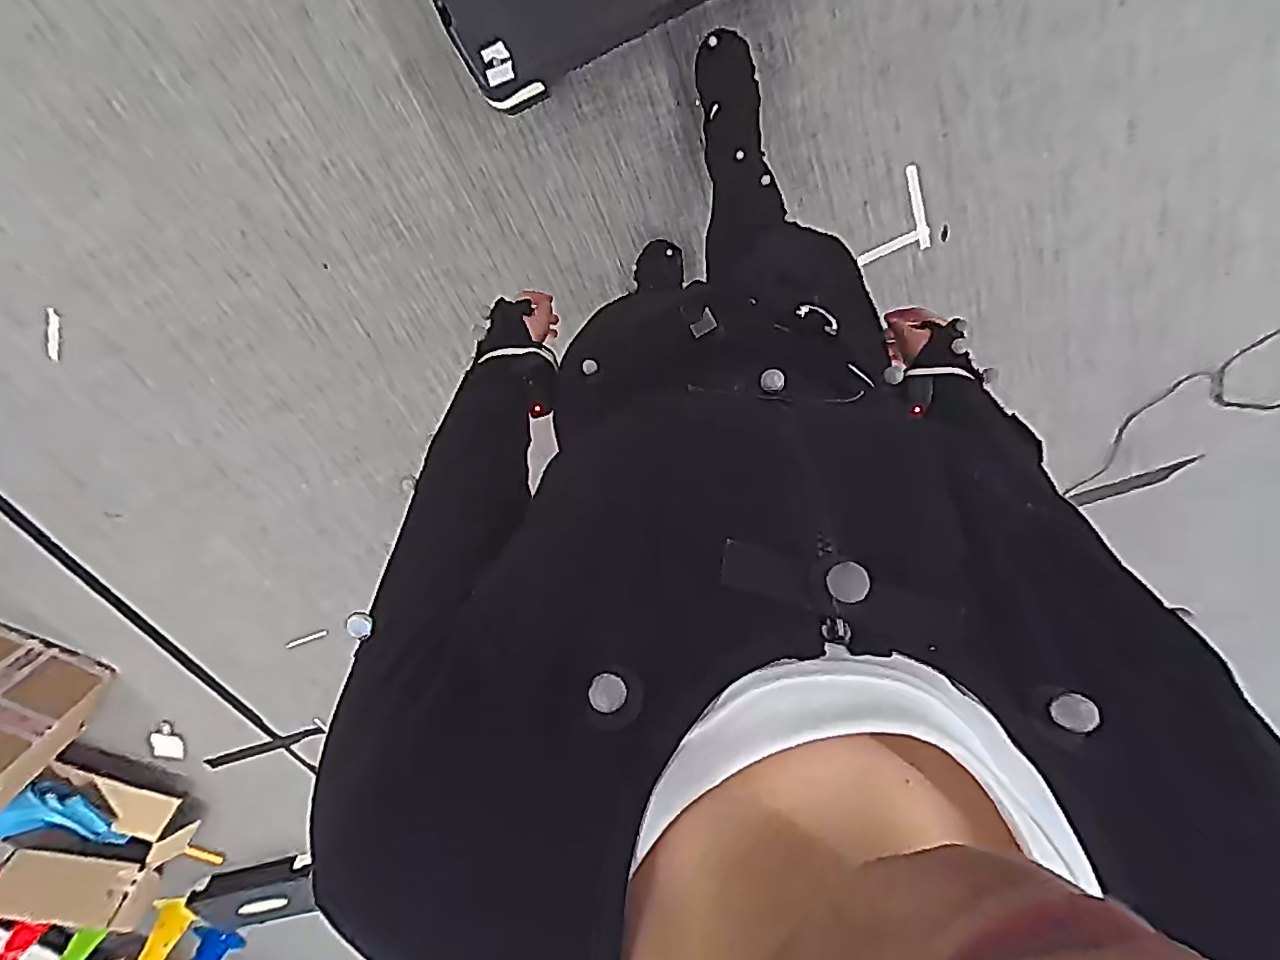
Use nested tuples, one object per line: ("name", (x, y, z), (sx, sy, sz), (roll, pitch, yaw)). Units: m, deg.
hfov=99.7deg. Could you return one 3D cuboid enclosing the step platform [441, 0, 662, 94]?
("step platform", (-0.013, -0.917, 0.855), (0.684, 0.204, 0.286), (-20, 117, 10))
